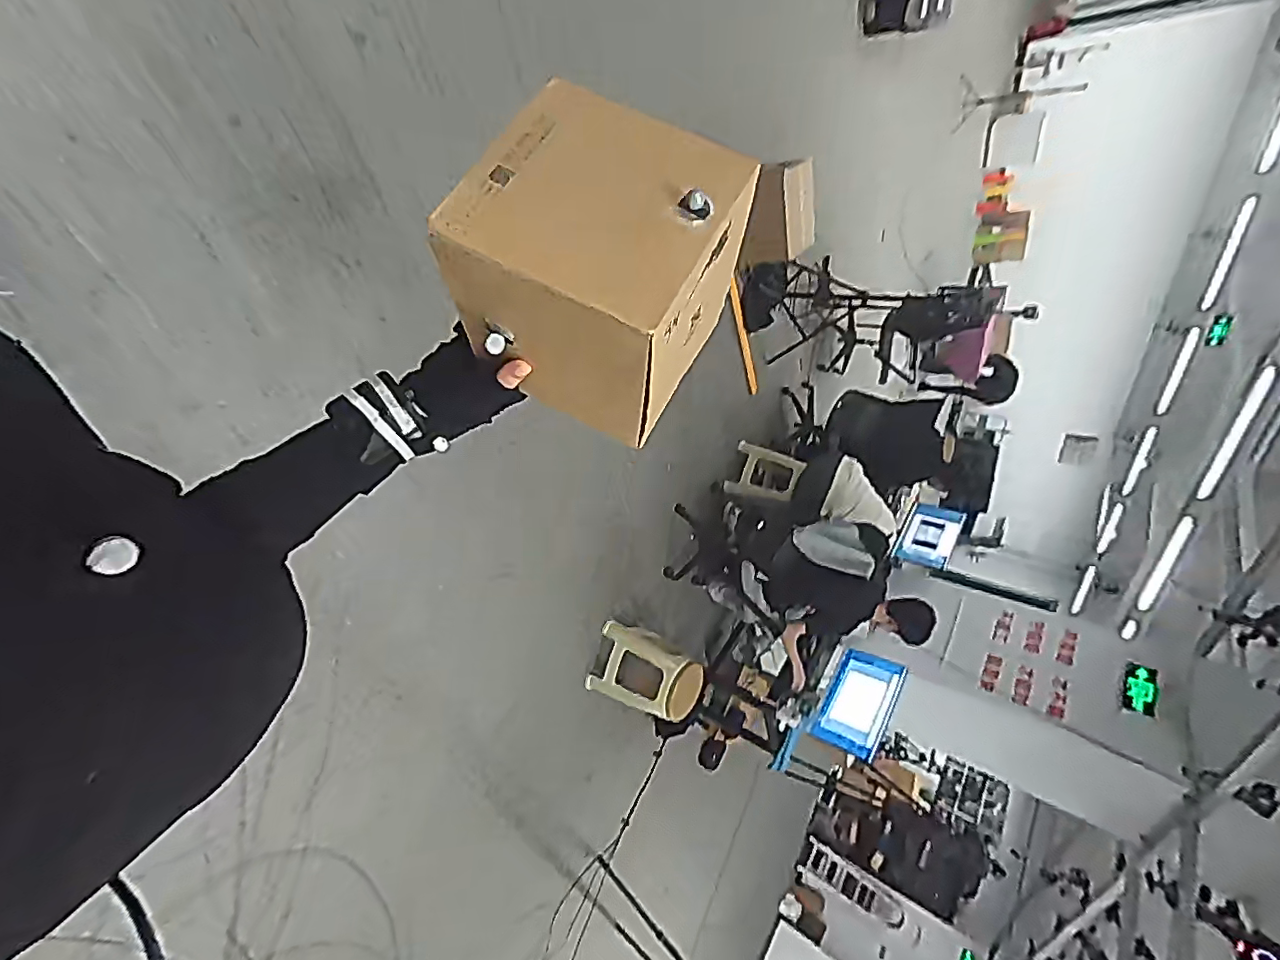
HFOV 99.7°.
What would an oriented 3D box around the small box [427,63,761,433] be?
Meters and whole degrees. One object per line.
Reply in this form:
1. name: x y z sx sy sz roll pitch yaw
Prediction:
1. small box: -0.034 -0.172 0.430 0.168 0.176 0.179 -59 174 -19
